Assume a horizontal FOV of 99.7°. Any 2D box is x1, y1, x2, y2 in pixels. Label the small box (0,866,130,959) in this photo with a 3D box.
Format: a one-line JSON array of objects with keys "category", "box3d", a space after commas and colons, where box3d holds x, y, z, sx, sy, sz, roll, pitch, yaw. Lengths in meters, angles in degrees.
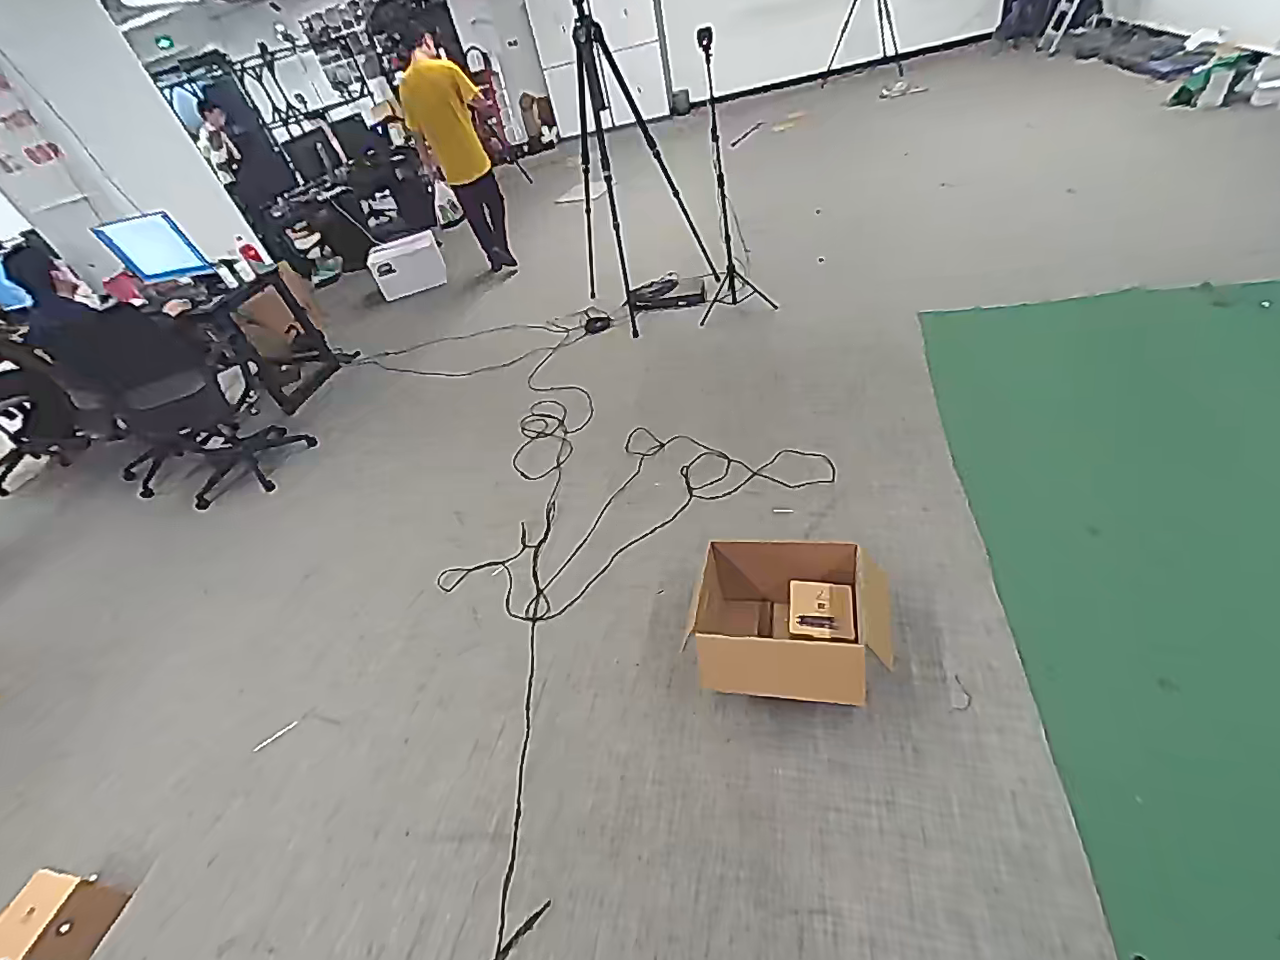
[{"category": "small box", "box3d": [-1.496, 1.137, 1.404, 0.168, 0.176, 0.179, -2, 44, 15]}]
